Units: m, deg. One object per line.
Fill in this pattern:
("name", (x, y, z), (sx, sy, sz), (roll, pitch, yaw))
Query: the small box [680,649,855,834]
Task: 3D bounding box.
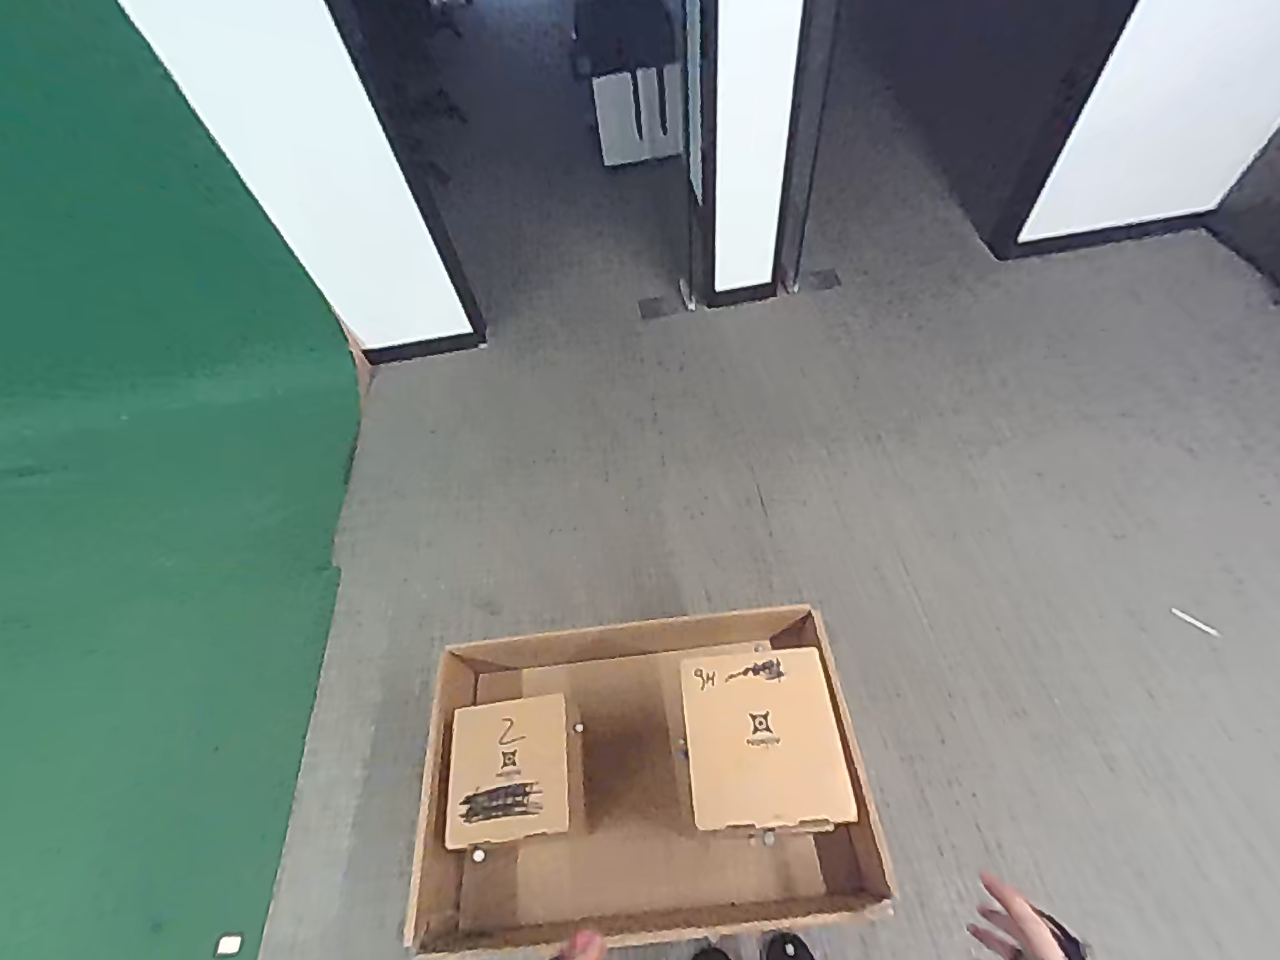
("small box", (0.142, 0.321, 0.657), (0.168, 0.176, 0.179), (-6, 56, 3))
